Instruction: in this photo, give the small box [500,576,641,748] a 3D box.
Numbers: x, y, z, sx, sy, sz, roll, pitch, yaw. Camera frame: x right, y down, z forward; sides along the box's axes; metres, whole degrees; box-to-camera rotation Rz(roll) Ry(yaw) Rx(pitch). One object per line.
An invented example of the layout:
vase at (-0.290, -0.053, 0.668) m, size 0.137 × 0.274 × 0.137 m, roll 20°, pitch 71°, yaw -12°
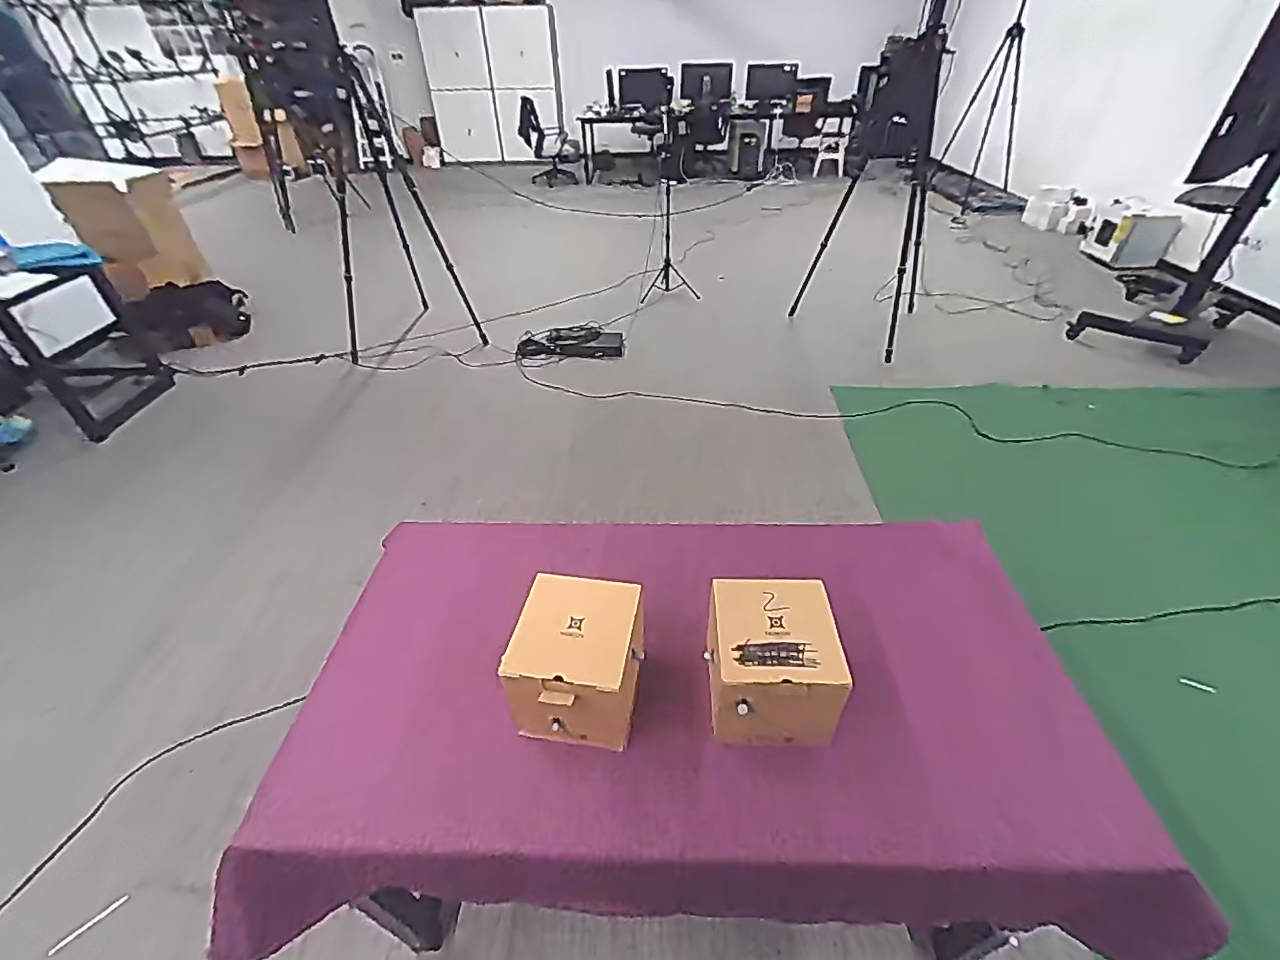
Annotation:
small box at (-0.094, 0.274, 0.825) m, size 0.168 × 0.176 × 0.179 m, roll 5°, pitch 41°, yaw 8°
